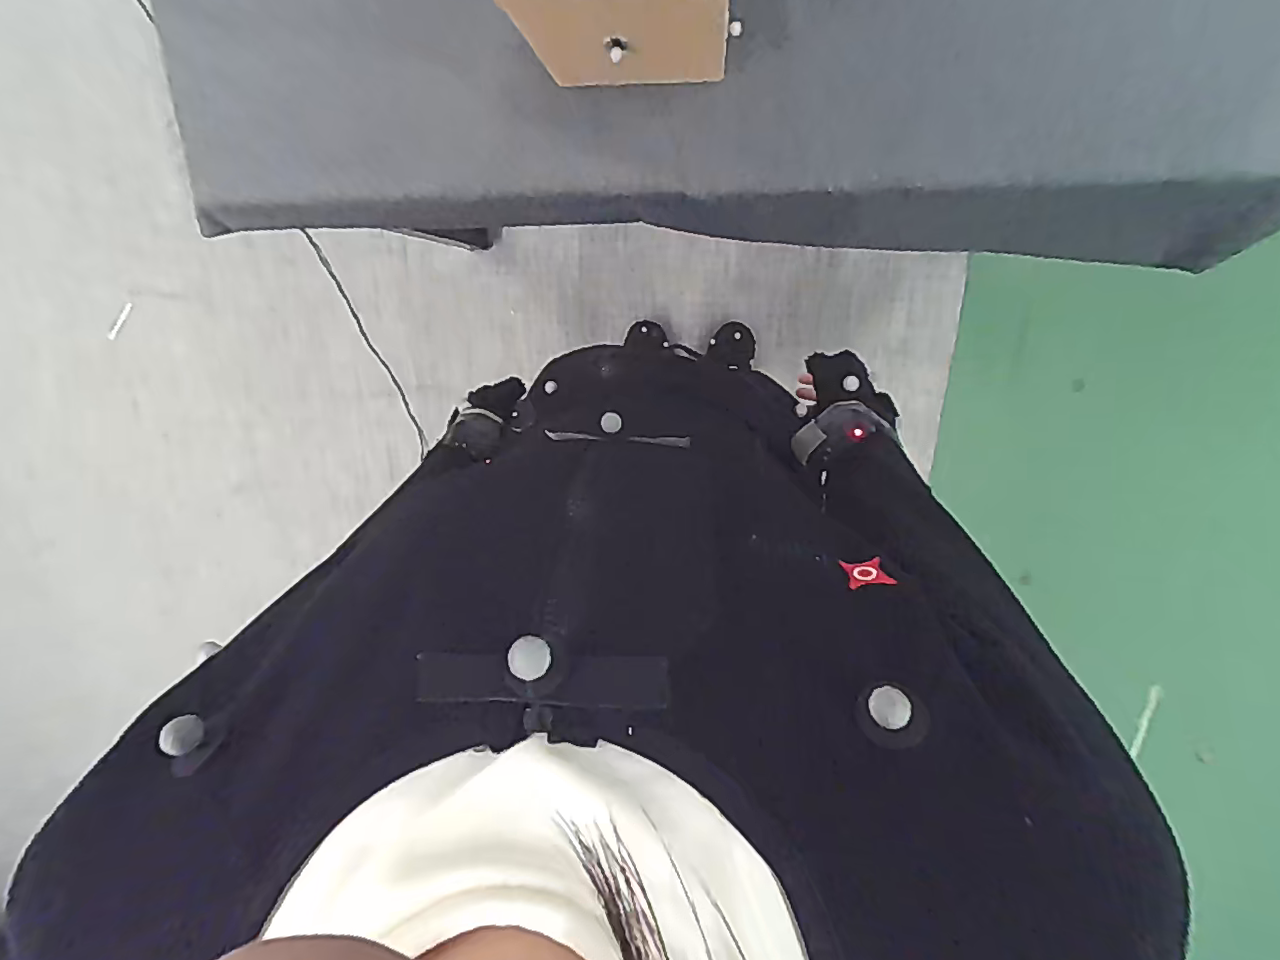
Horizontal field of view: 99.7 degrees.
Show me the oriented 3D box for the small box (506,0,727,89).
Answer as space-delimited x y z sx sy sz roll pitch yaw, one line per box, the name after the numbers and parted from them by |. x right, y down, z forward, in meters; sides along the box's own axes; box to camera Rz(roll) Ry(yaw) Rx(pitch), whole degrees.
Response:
-0.009 -0.472 0.475 0.179 0.176 0.168 3 106 8 | small box
